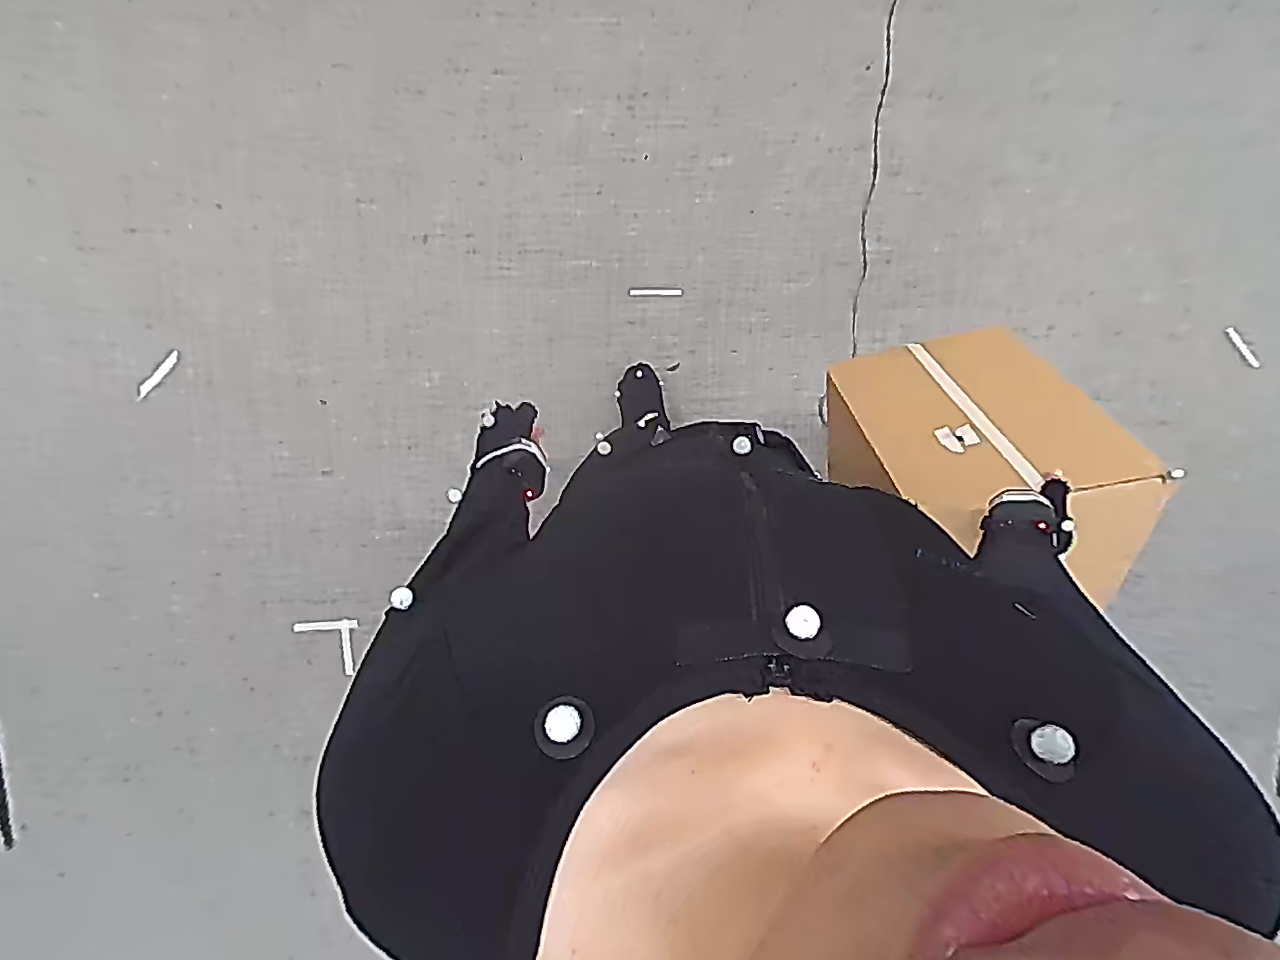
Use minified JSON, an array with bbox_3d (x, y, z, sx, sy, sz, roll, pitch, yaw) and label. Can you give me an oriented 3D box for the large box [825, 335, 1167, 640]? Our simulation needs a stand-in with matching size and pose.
[{"bbox_3d":[0.540,0.005,0.943,0.320,0.408,0.320,-12,132,7],"label":"large box"}]
